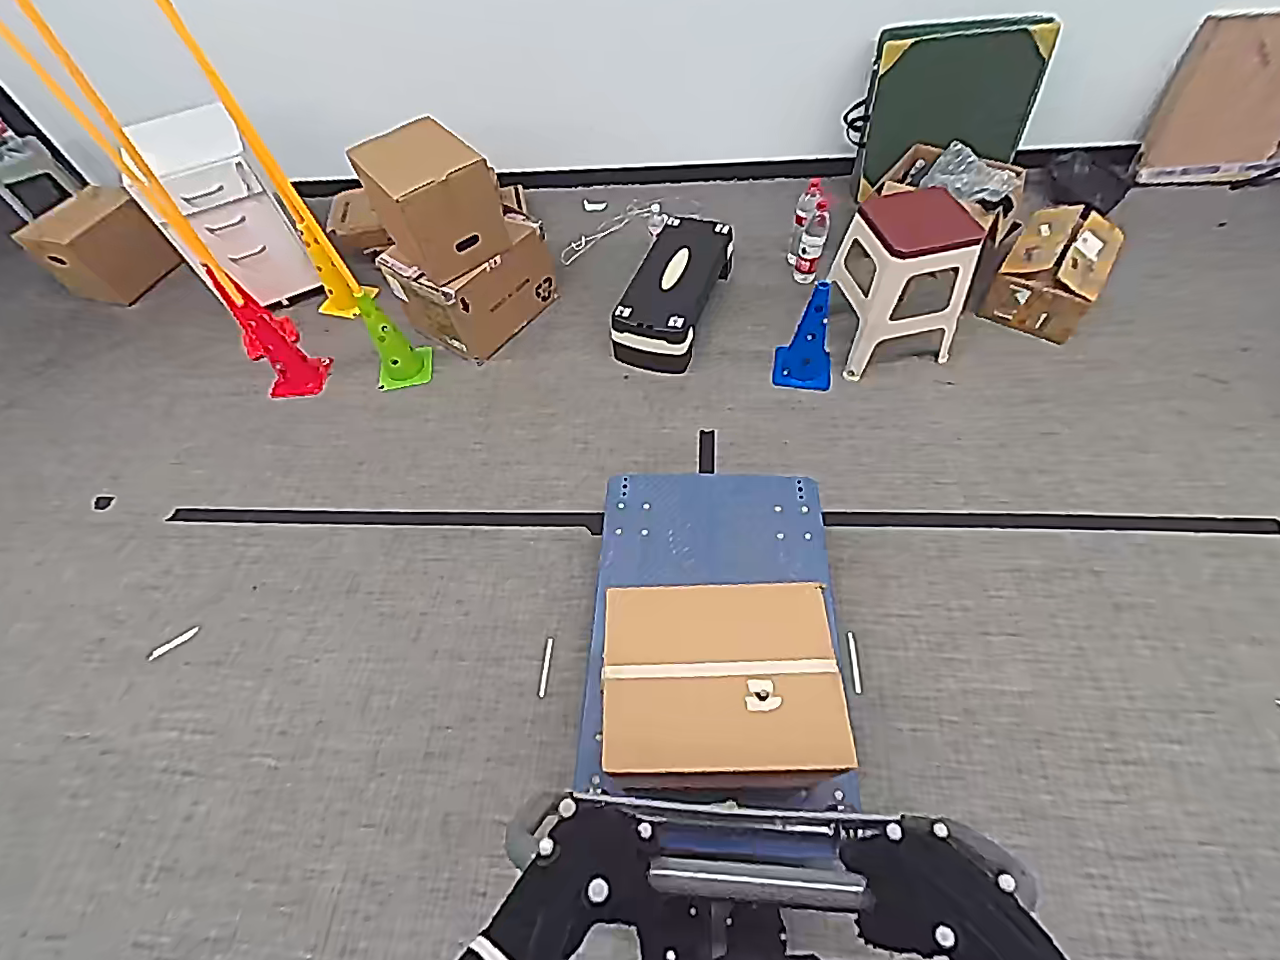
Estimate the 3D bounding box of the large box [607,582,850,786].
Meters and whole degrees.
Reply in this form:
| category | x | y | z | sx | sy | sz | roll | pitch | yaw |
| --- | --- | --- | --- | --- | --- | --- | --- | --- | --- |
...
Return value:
| category | x | y | z | sx | sy | sz | roll | pitch | yaw |
| --- | --- | --- | --- | --- | --- | --- | --- | --- | --- |
| large box | 0.144 | 0.415 | 1.081 | 0.408 | 0.320 | 0.320 | -2 | 57 | 1 |
